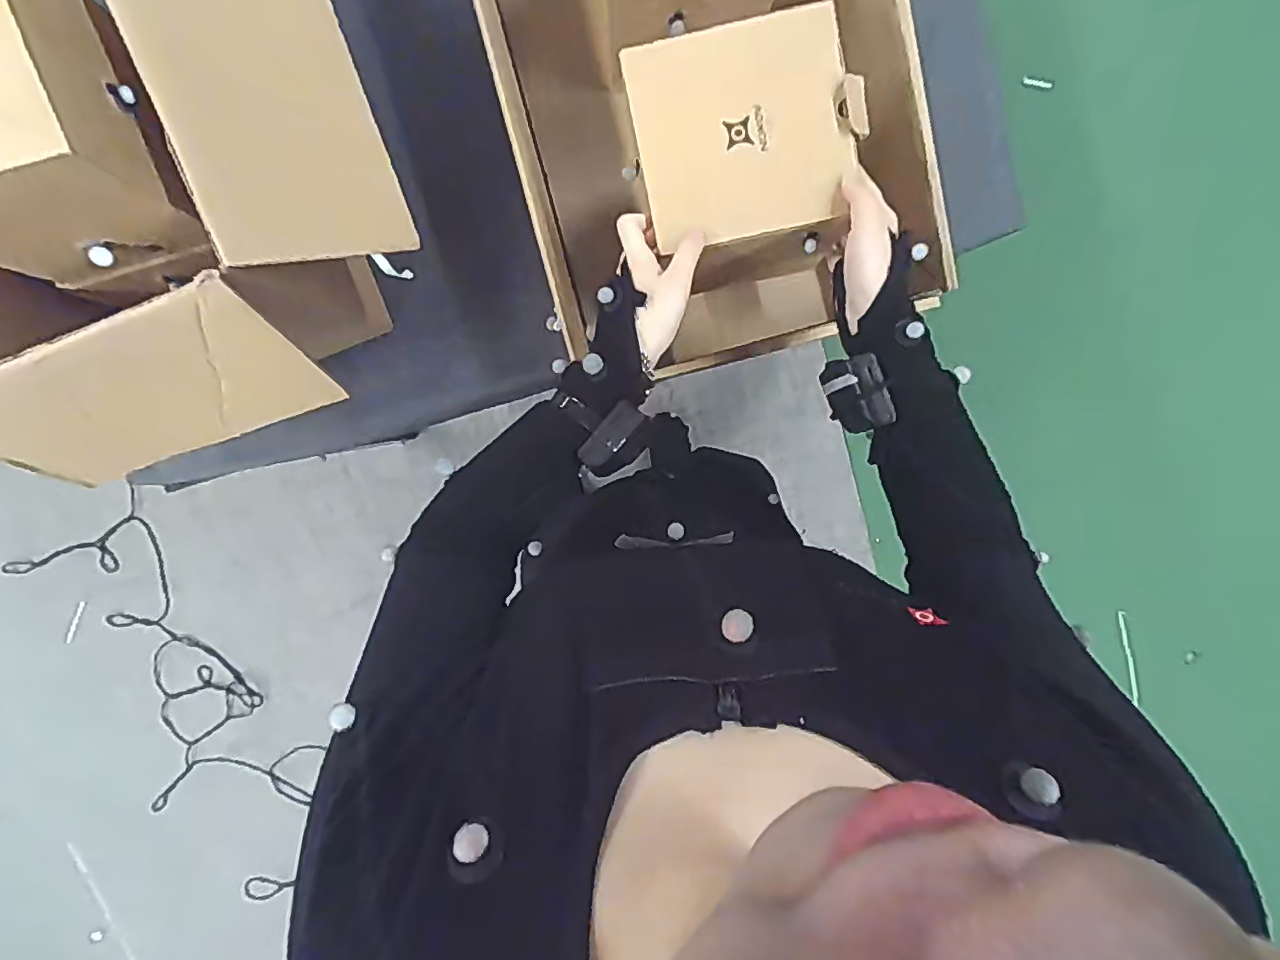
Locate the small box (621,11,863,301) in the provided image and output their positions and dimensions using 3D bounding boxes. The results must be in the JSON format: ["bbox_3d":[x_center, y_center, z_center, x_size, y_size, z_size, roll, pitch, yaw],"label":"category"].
[{"bbox_3d":[0.087,-0.287,0.523,0.179,0.176,0.168,-12,95,3],"label":"small box"}]
